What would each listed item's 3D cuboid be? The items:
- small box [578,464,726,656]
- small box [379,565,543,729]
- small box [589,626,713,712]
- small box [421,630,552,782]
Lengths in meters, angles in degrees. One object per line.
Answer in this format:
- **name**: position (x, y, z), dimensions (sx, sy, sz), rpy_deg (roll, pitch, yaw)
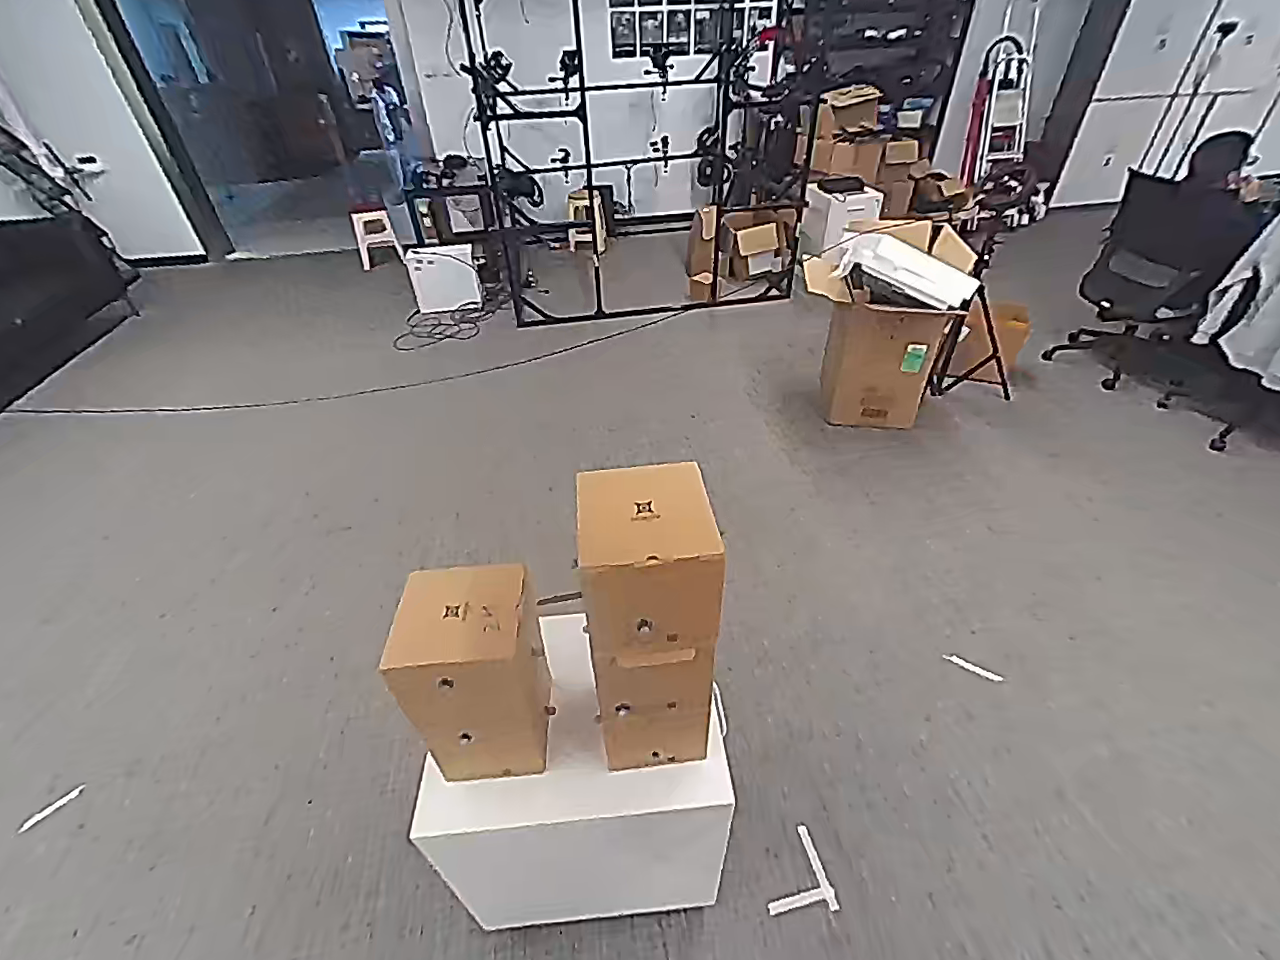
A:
- **small box**: position (0.008, 0.101, 0.706), dimensions (0.168, 0.176, 0.179), rpy_deg (-6, 40, -4)
- **small box**: position (-0.248, 0.247, 0.797), dimensions (0.179, 0.176, 0.168), rpy_deg (-4, 40, -3)
- **small box**: position (0.012, 0.227, 0.810), dimensions (0.168, 0.176, 0.179), rpy_deg (-6, 39, -4)
- **small box**: position (-0.242, 0.373, 0.904), dimensions (0.168, 0.176, 0.179), rpy_deg (-4, 38, -2)
